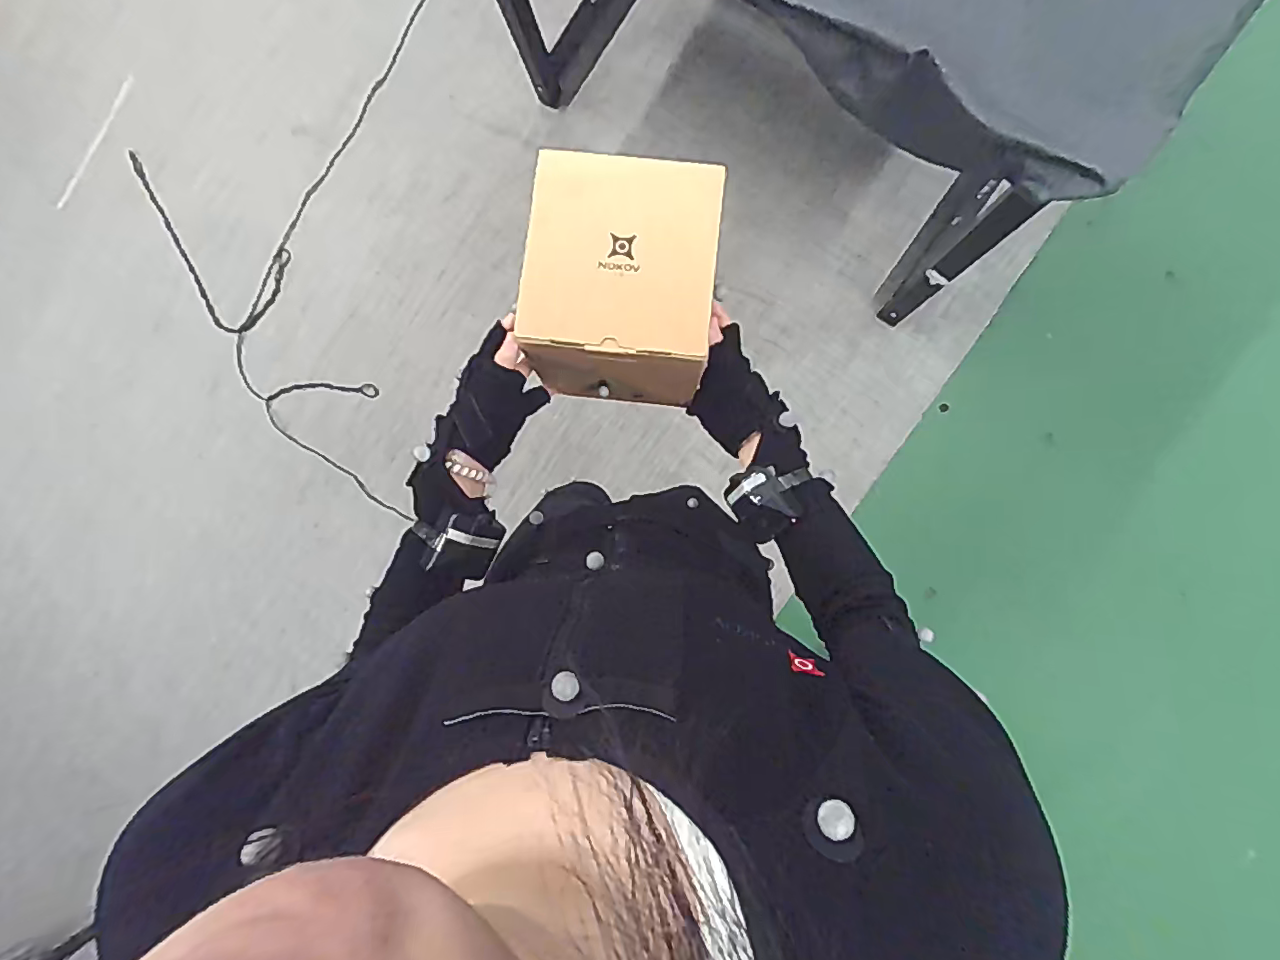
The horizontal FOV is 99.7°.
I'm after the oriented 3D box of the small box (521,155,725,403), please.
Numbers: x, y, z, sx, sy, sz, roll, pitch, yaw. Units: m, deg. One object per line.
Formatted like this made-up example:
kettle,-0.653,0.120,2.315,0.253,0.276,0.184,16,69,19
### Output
small box,-0.015,-0.191,0.558,0.168,0.176,0.179,6,86,1
